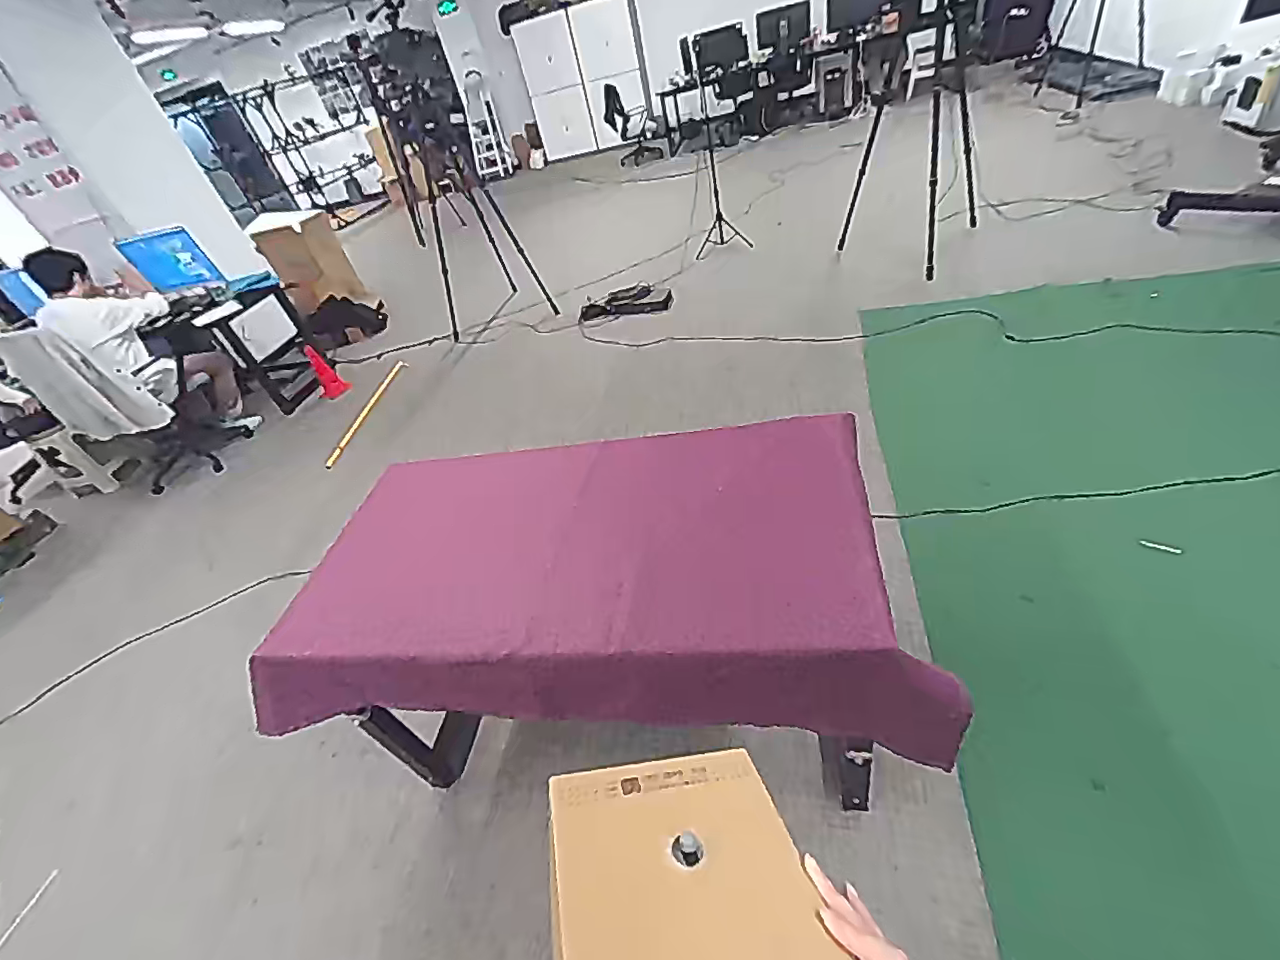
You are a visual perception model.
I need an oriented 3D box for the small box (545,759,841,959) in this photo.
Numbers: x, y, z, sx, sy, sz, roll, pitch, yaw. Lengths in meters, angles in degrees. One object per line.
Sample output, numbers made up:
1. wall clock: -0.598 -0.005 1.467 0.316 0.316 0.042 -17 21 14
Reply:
1. small box: 0.018 0.332 0.396 0.168 0.179 0.176 -1 19 -12
